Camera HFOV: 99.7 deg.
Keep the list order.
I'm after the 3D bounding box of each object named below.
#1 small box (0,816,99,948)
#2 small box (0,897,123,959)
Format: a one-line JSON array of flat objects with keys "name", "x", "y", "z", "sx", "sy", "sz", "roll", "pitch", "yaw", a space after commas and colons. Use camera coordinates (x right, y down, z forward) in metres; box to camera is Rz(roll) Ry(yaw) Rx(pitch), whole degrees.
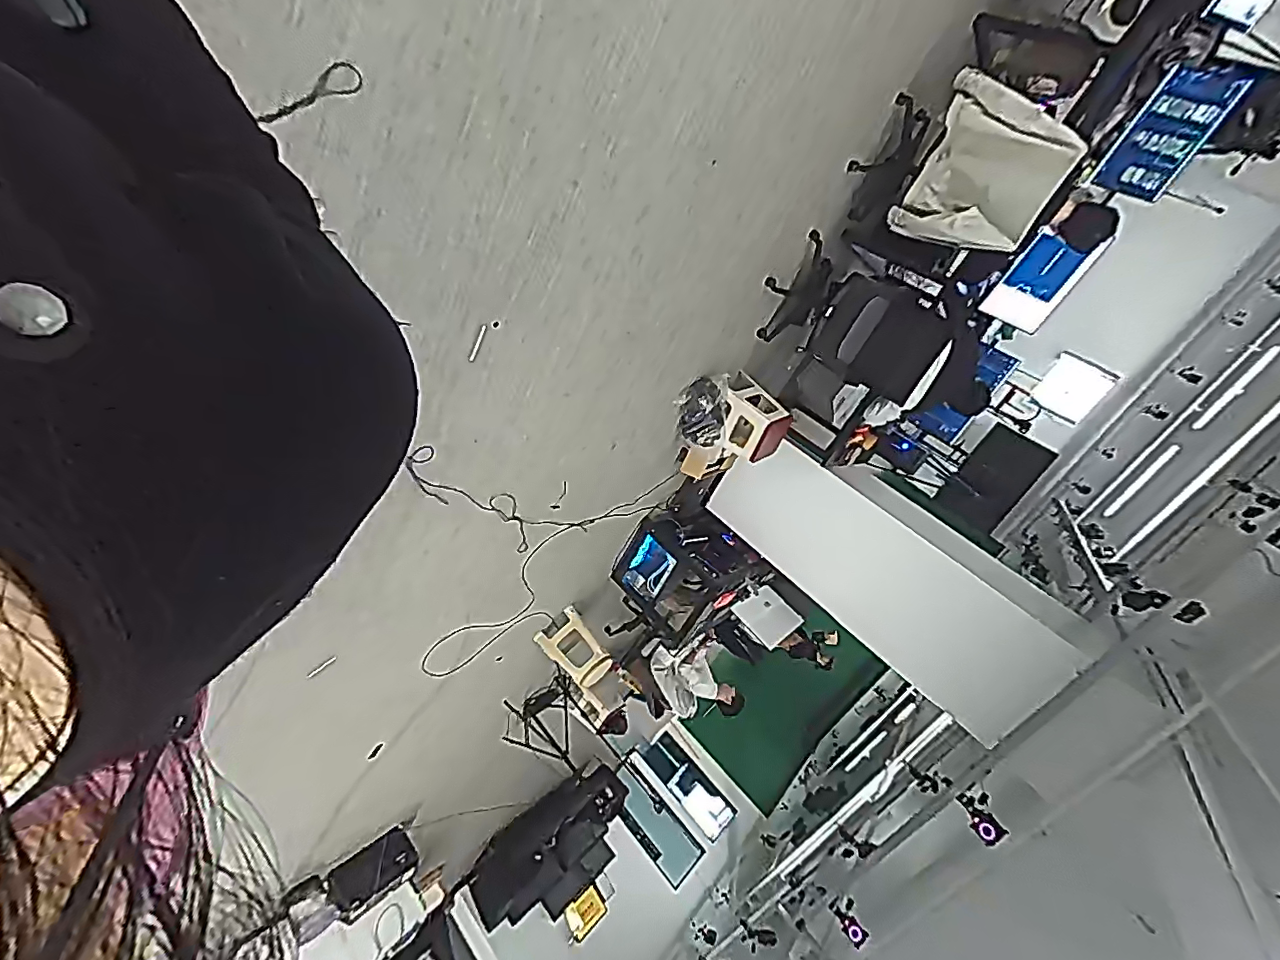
[{"name": "small box", "x": -1.027, "y": 0.704, "z": 0.890, "sx": 0.168, "sy": 0.176, "sz": 0.179, "roll": -11, "pitch": 136, "yaw": -54}, {"name": "small box", "x": -0.916, "y": 0.802, "z": 0.824, "sx": 0.179, "sy": 0.176, "sz": 0.168, "roll": -13, "pitch": 139, "yaw": -53}]
